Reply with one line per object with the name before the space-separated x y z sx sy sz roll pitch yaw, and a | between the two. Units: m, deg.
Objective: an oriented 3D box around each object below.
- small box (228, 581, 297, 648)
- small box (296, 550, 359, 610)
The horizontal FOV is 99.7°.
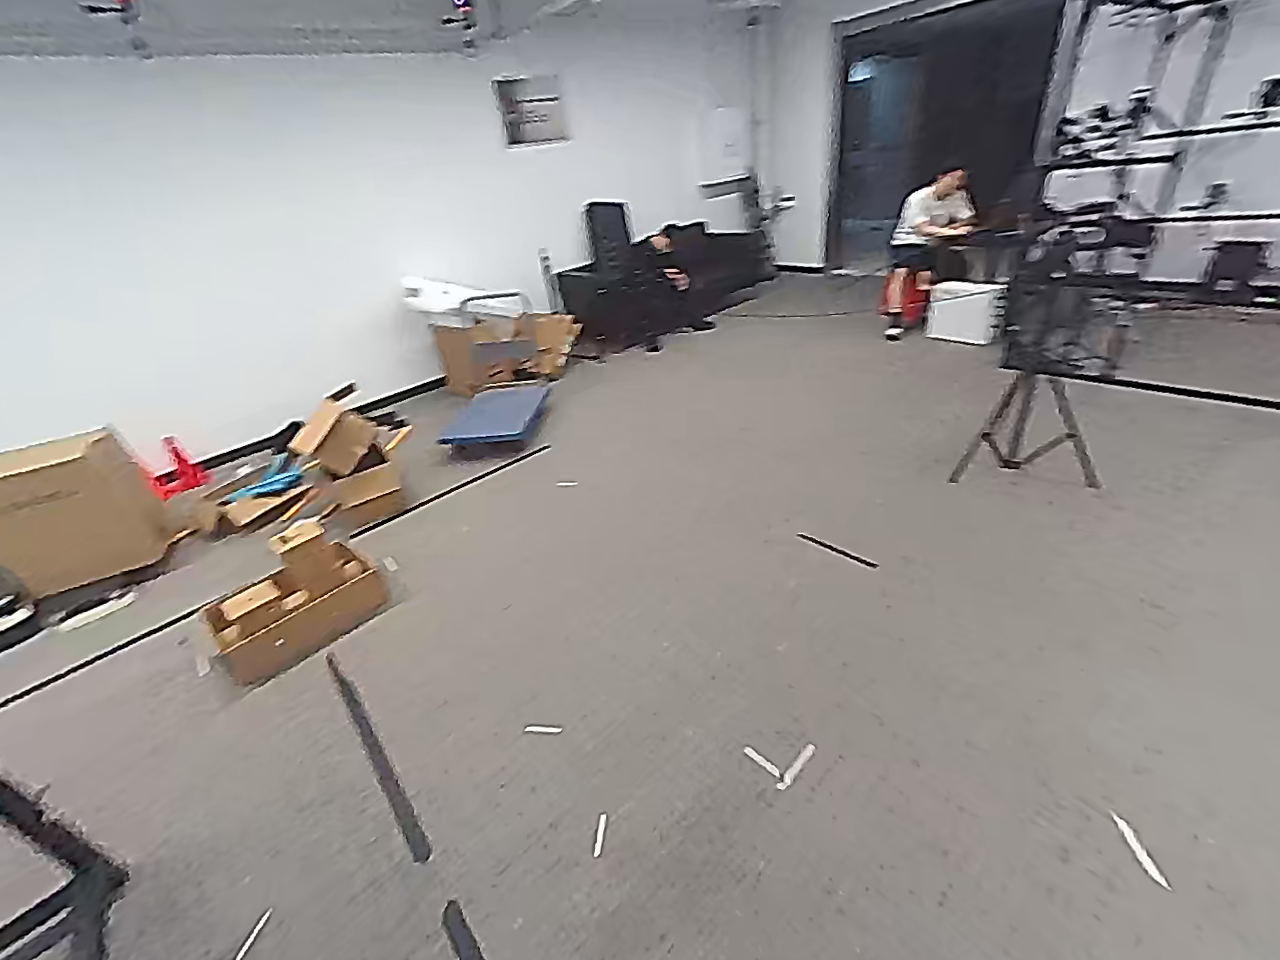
small box | -1.572 0.561 2.260 0.168 0.176 0.179 18 38 39
small box | -1.393 0.449 2.411 0.179 0.176 0.168 21 42 40
